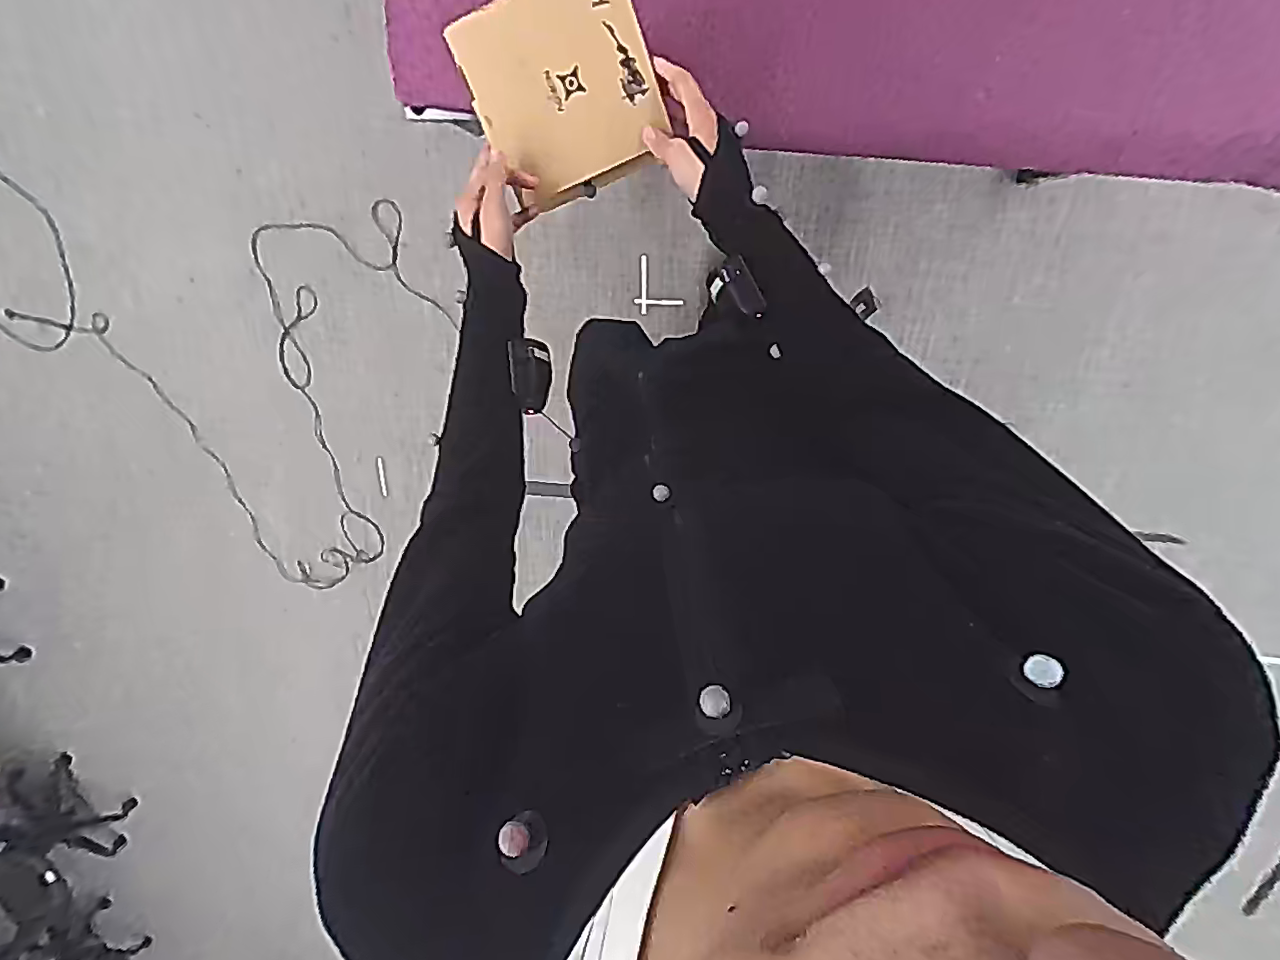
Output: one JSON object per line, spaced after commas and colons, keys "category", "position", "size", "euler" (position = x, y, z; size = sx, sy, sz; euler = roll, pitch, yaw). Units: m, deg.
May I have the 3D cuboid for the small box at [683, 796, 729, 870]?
{"category": "small box", "position": [0.260, 1.388, 2.130], "size": [0.168, 0.176, 0.179], "euler": [3, 110, 5]}

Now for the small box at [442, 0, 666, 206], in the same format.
{"category": "small box", "position": [-0.080, -0.420, 0.599], "size": [0.179, 0.176, 0.168], "euler": [-19, 114, 8]}
